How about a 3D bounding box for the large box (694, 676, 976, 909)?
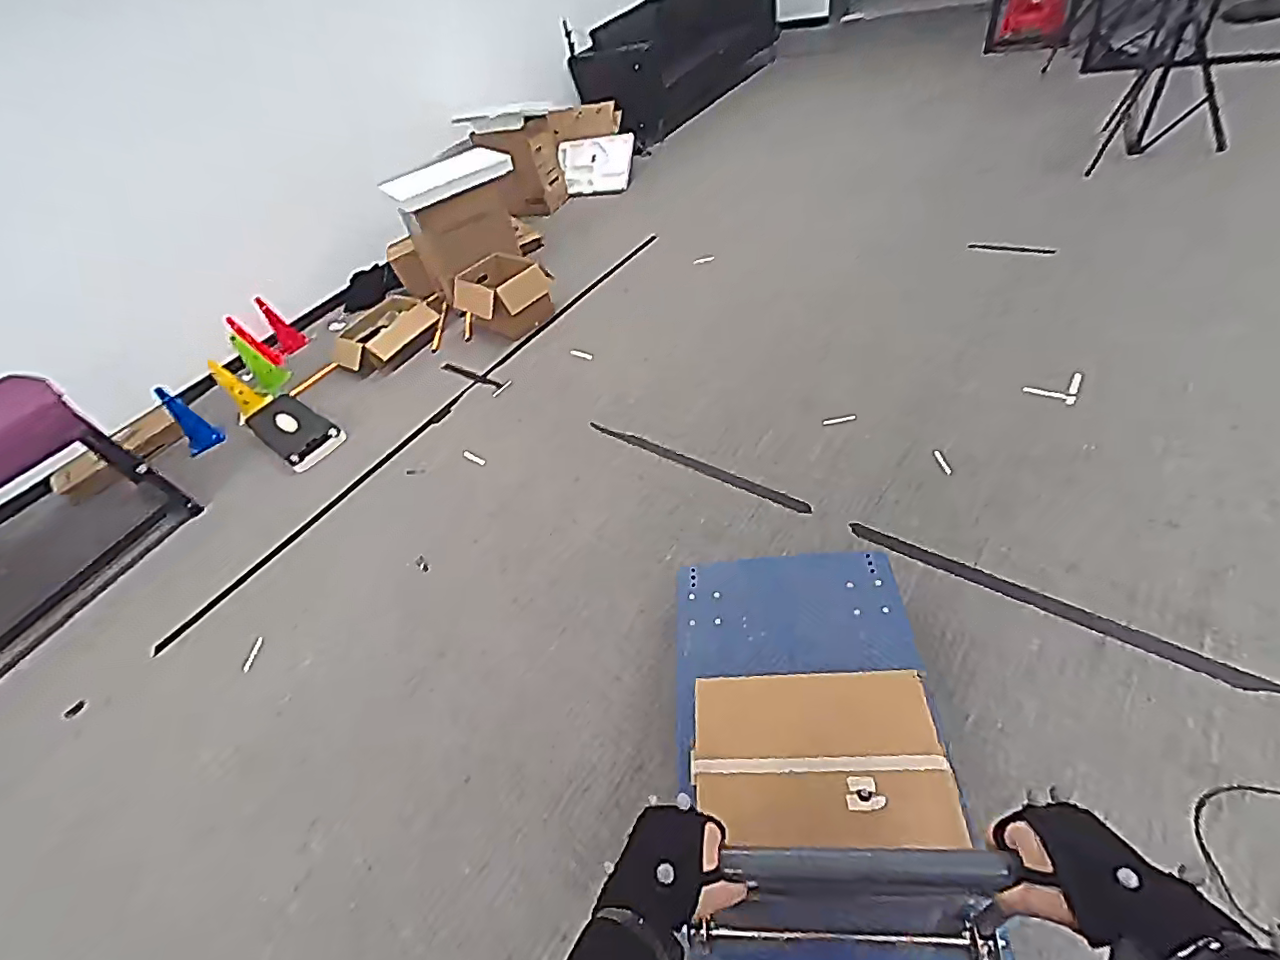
[{"bbox_3d":[0.320,0.585,1.006,0.408,0.320,0.320,-6,47,10],"label":"large box"}]
